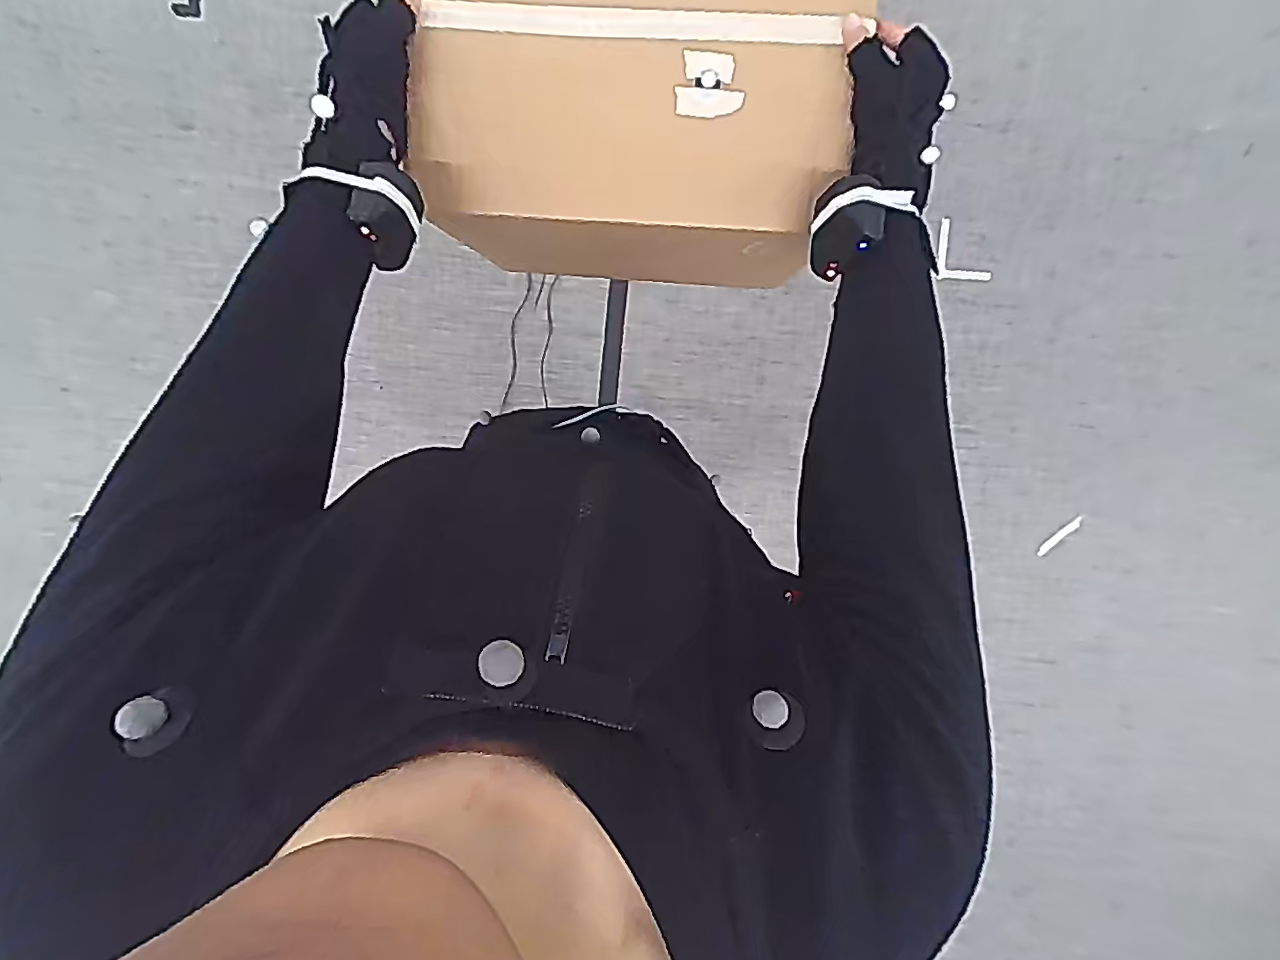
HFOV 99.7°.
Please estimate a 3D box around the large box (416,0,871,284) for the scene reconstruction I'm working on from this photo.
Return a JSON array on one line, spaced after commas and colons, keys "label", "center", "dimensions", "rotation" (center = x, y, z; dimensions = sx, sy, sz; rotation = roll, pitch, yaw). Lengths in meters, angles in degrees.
[{"label": "large box", "center": [0.002, -0.417, 0.621], "dimensions": [0.408, 0.320, 0.320], "rotation": [4, 102, 1]}]
